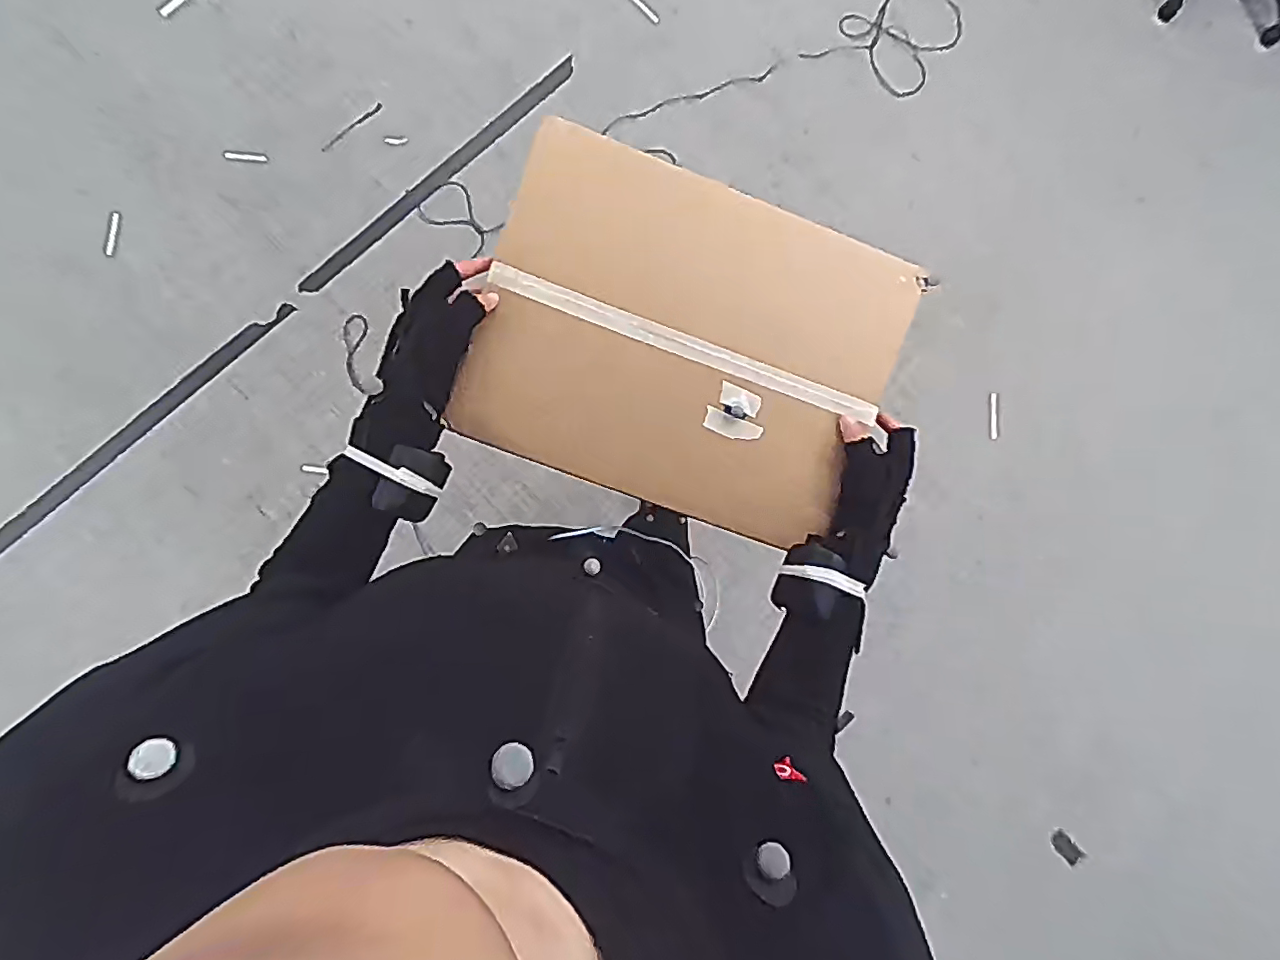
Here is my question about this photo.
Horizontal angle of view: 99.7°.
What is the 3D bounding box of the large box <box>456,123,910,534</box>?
[{"bbox_3d":[0.036,-0.156,0.698,0.408,0.320,0.320,19,94,-5],"label":"large box"}]
